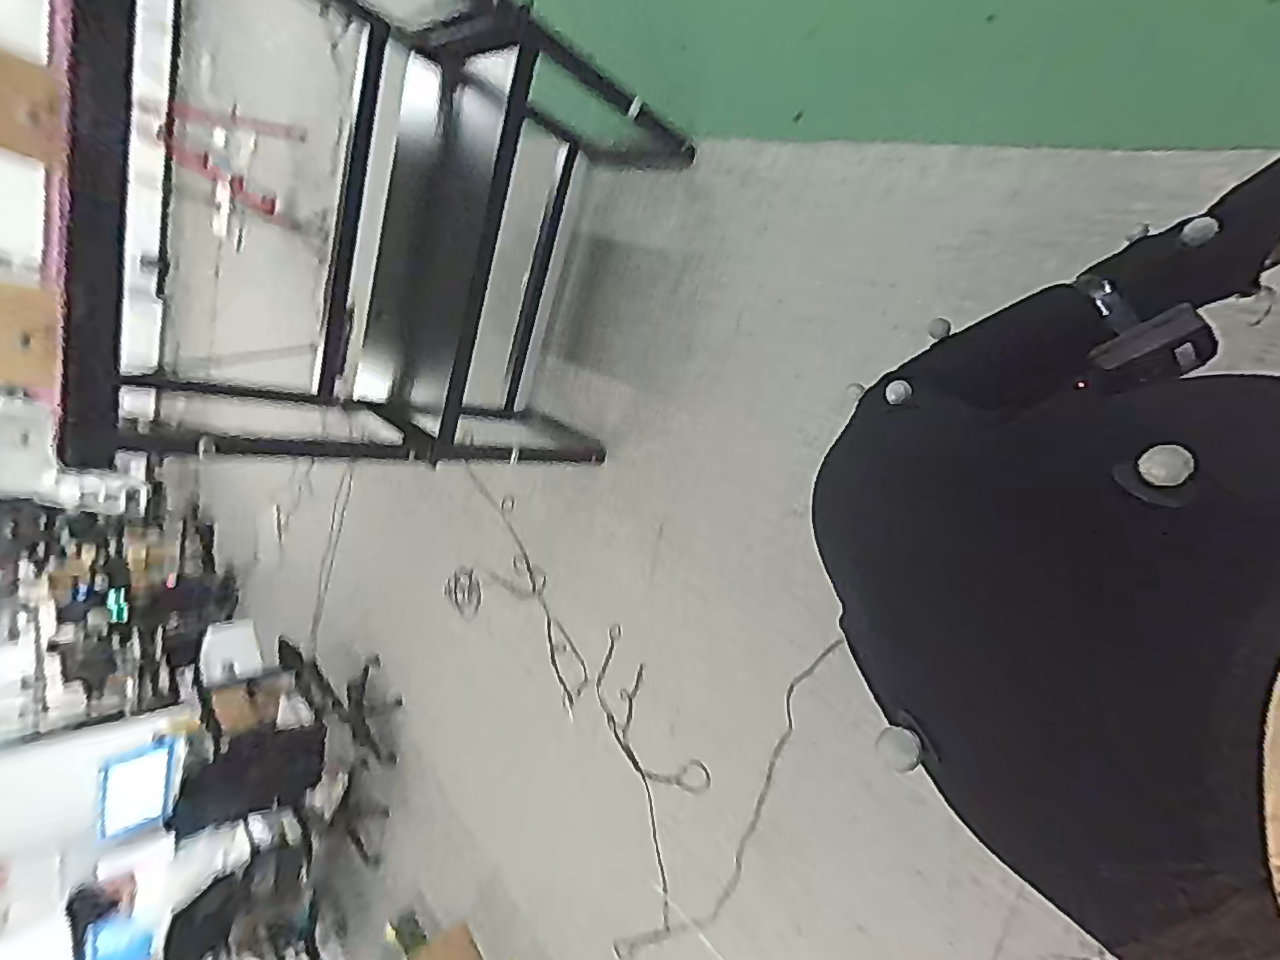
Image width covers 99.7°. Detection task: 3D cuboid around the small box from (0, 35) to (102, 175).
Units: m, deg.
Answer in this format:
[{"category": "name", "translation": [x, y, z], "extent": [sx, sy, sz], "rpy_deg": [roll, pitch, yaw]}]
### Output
[{"category": "small box", "translation": [-1.044, -0.640, 0.917], "extent": [0.179, 0.176, 0.168], "rpy_deg": [29, 110, 36]}]

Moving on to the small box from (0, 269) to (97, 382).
[{"category": "small box", "translation": [-1.137, -0.288, 1.004], "extent": [0.179, 0.176, 0.168], "rpy_deg": [29, 110, 38]}]
